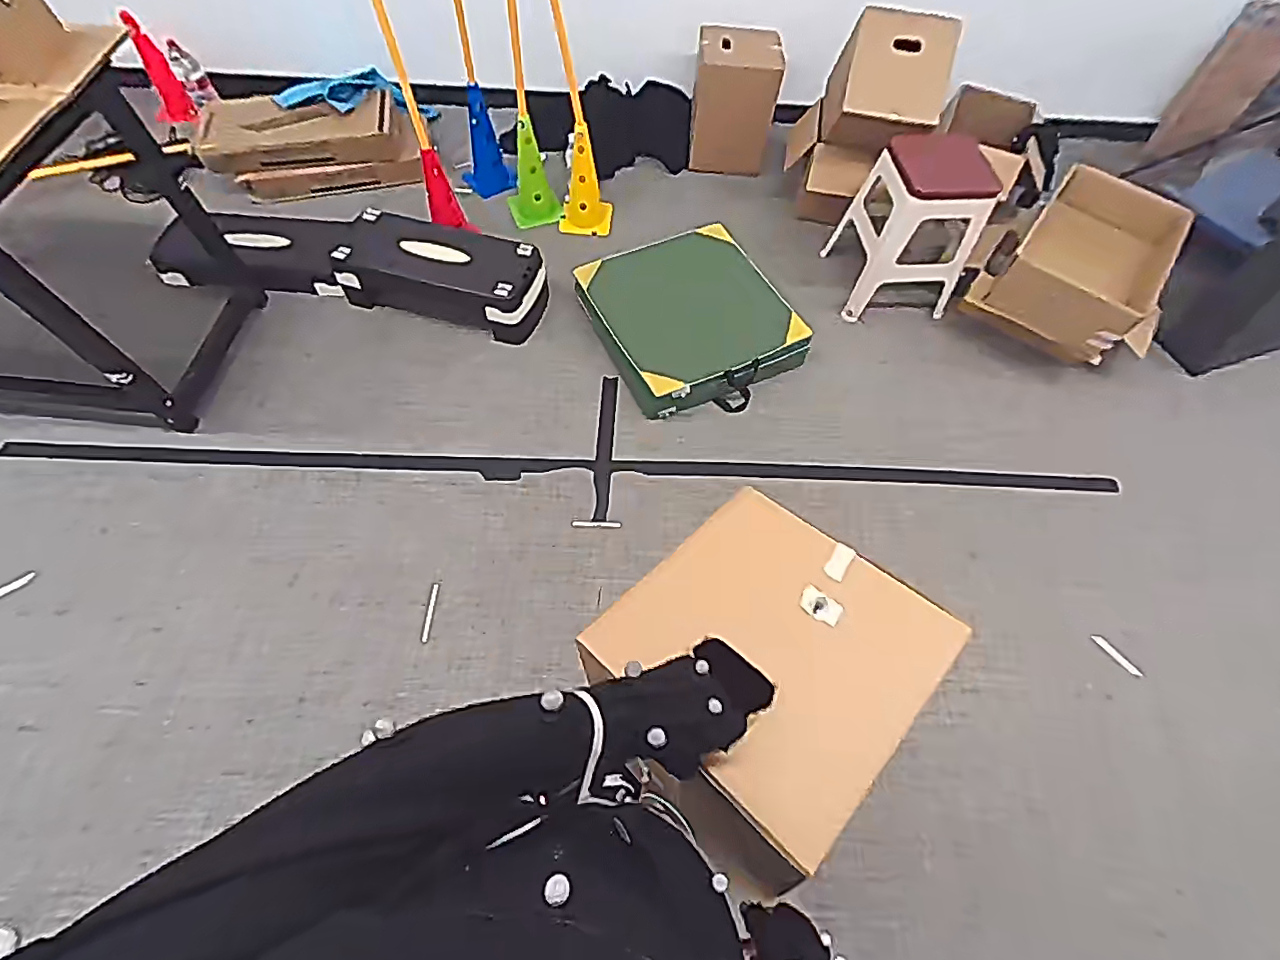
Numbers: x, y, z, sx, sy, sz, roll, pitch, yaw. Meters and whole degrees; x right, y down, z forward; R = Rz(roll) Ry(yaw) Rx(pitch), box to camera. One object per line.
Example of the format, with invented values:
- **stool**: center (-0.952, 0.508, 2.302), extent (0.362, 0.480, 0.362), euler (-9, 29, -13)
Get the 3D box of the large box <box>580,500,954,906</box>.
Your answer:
- **large box**: center (0.158, 0.308, 0.751), extent (0.320, 0.408, 0.320), euler (-38, 56, -25)
